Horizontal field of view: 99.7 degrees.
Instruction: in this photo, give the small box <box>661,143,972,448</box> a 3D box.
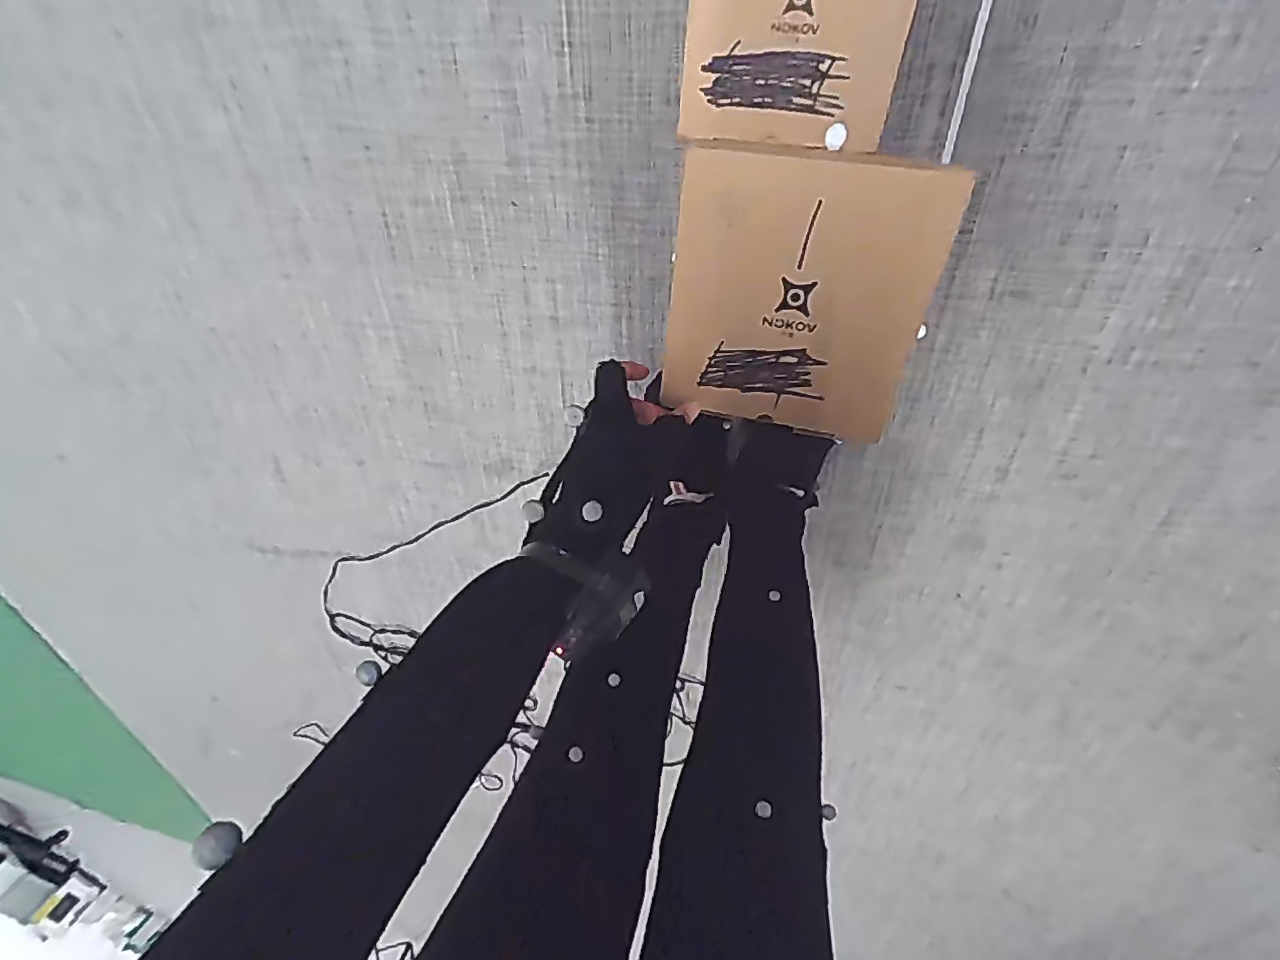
[{"bbox_3d":[0.123,-0.153,0.424,0.168,0.176,0.179,12,124,10],"label":"small box"}]
